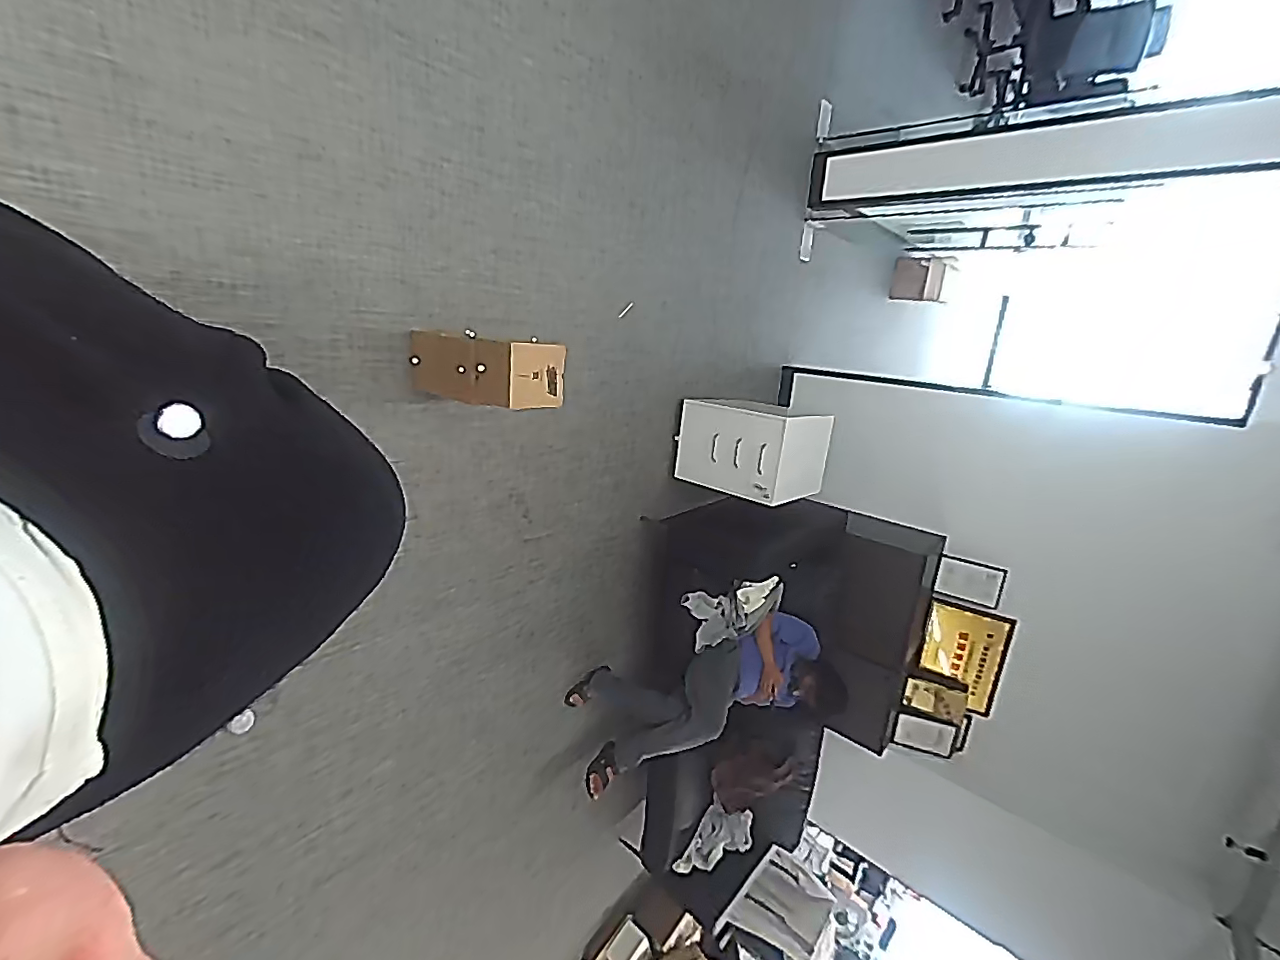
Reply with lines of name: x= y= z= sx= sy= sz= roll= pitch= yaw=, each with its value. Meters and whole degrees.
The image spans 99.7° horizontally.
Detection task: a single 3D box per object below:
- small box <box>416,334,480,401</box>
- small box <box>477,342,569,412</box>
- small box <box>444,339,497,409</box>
small box: x=-0.562 y=-0.342 z=1.637 sx=0.168 sy=0.176 sz=0.179 roll=-12 pitch=113 yaw=-48
small box: x=-0.311 y=-0.276 z=1.437 sx=0.179 sy=0.176 sz=0.168 roll=-11 pitch=111 yaw=-47
small box: x=-0.441 y=-0.304 z=1.535 sx=0.168 sy=0.176 sz=0.179 roll=-13 pitch=114 yaw=-48
